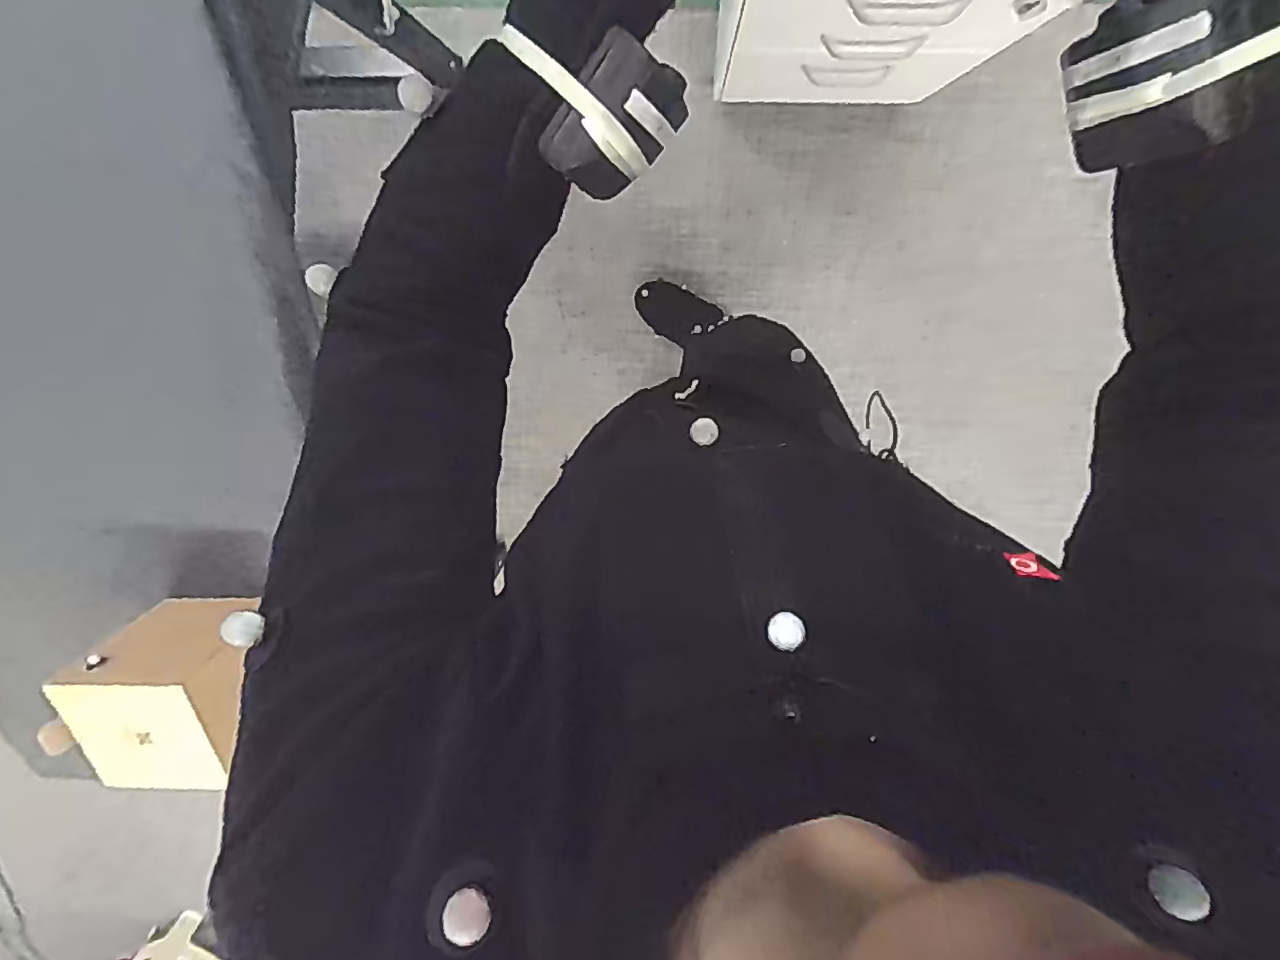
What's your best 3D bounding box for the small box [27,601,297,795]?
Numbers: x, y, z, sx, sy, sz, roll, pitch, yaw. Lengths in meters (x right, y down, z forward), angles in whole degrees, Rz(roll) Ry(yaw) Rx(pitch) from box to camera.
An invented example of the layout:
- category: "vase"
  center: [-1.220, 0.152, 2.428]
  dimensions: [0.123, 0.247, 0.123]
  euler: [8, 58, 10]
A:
- category: "small box"
  center: [-0.577, 0.269, 0.690]
  dimensions: [0.179, 0.176, 0.168]
  euler: [-2, 112, 5]
